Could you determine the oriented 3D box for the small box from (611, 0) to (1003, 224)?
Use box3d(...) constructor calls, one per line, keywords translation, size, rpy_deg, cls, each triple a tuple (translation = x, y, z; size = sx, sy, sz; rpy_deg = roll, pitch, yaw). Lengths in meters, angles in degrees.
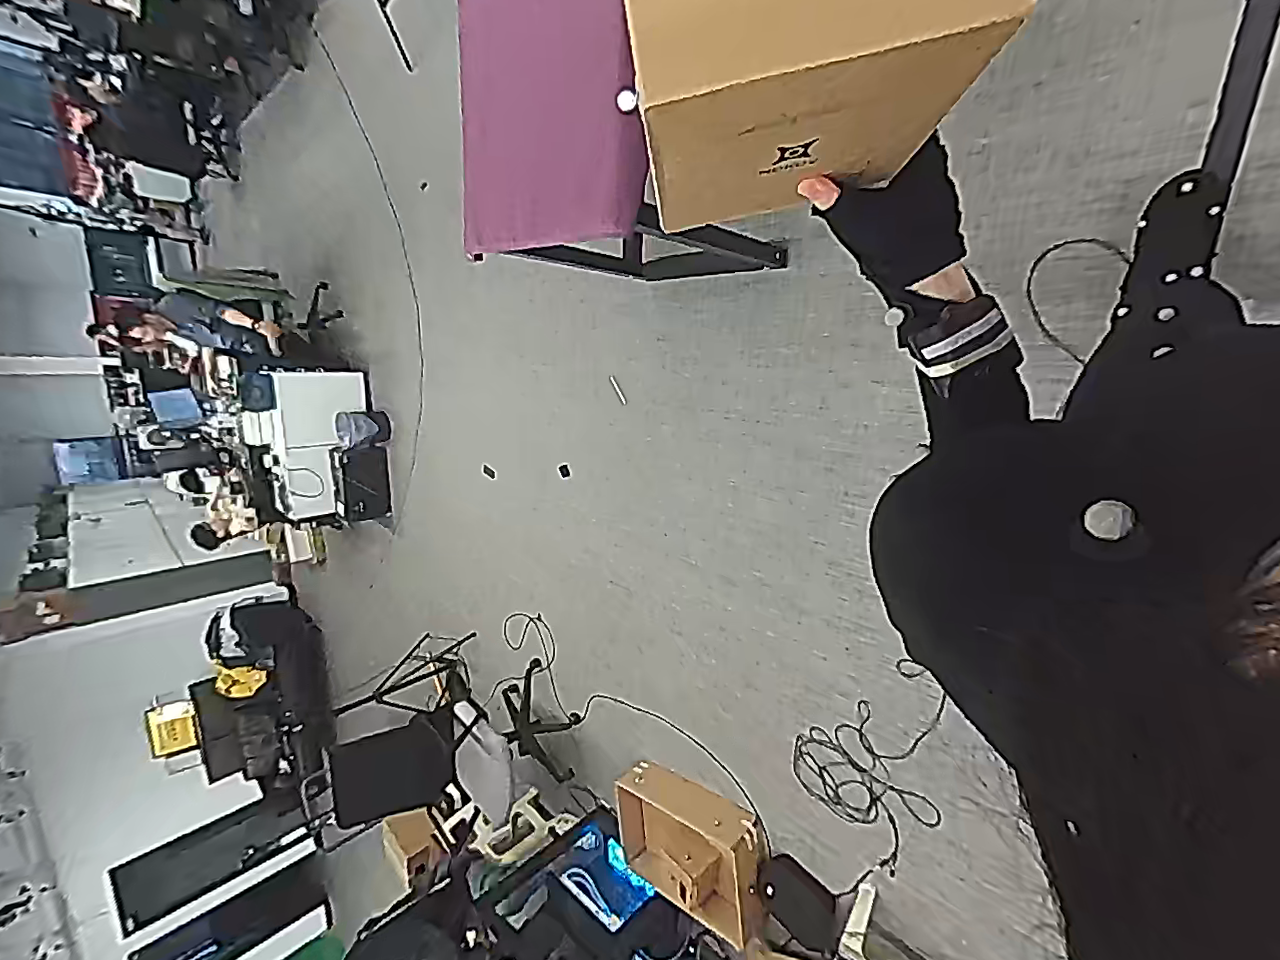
box3d(translation=(0.072, -0.277, 0.309), size=(0.168, 0.179, 0.176), rpy_deg=(-10, 96, 10), cls="small box")
